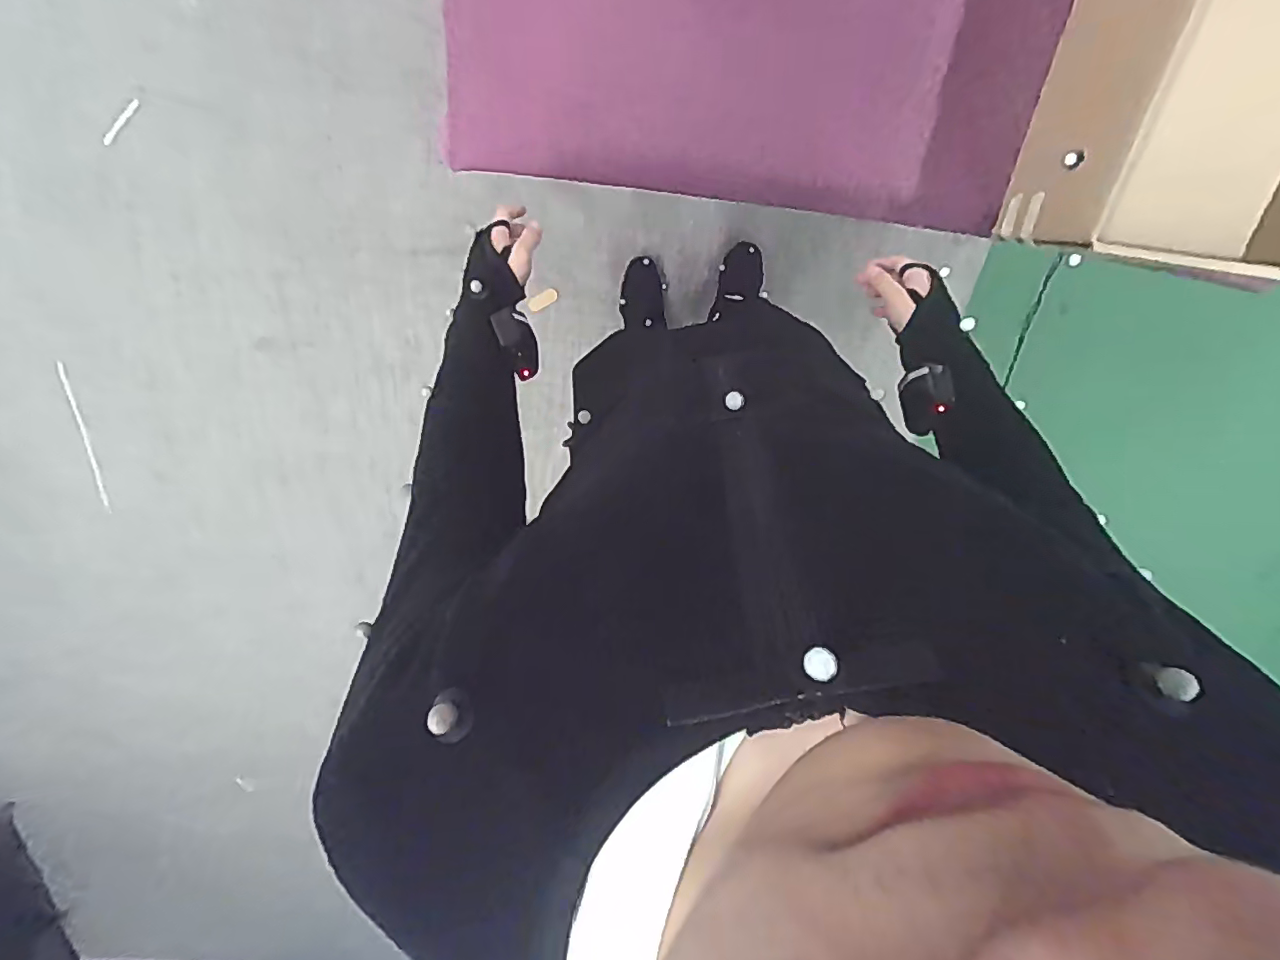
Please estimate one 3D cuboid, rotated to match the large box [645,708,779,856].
[{"bbox_3d":[0.265,1.162,2.097,0.408,0.320,0.320,-23,114,7],"label":"large box"}]
